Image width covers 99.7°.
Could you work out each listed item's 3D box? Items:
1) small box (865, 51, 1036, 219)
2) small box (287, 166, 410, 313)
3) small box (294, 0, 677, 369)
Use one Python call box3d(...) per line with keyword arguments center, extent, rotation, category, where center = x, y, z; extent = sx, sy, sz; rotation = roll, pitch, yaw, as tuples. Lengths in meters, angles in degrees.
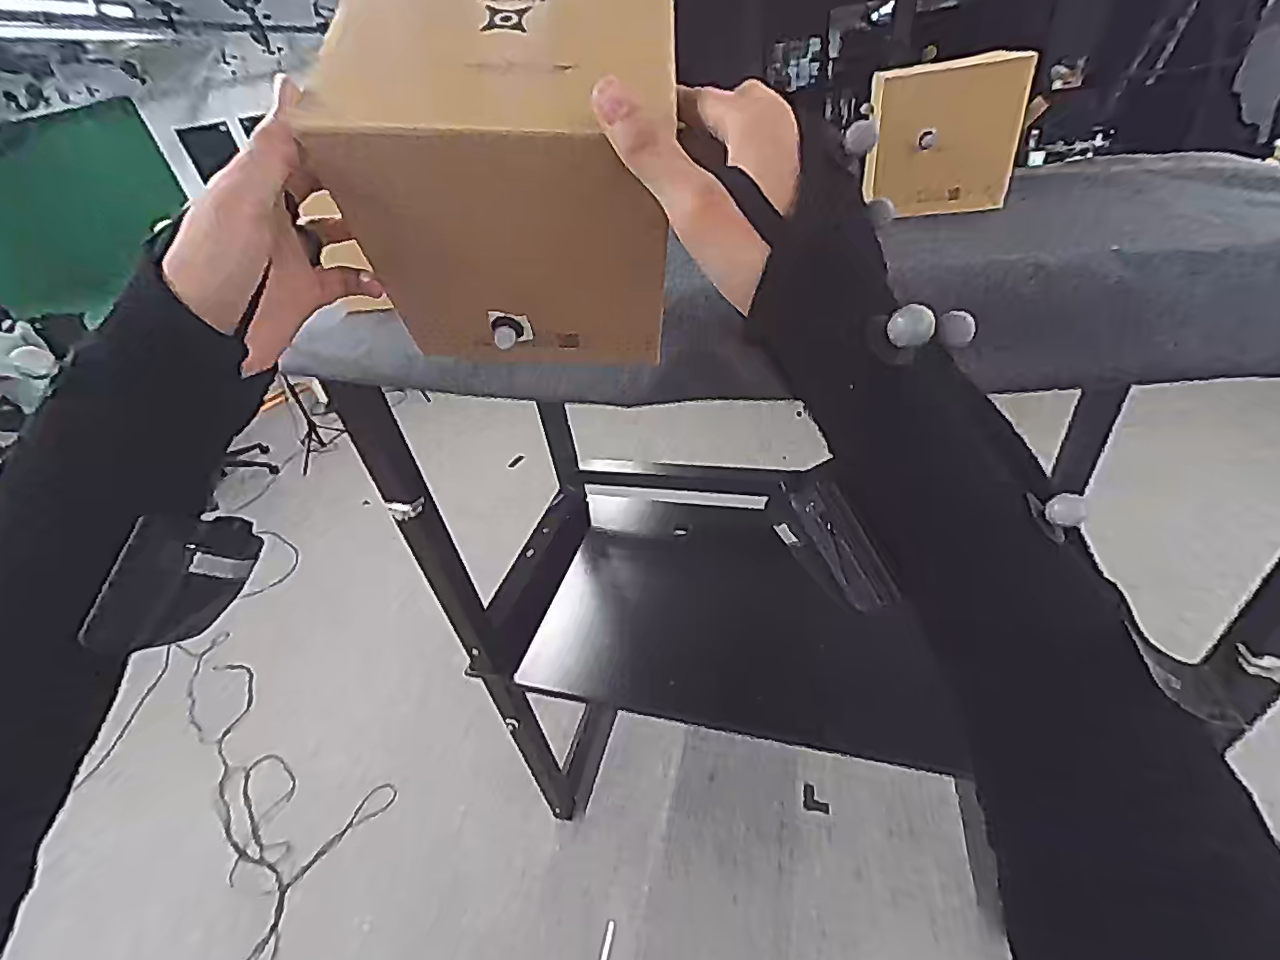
box3d(center=(0.409, -0.469, 0.747), extent=(0.168, 0.176, 0.179), rotation=(3, 38, 17), category="small box")
box3d(center=(-0.303, -0.329, 0.715), extent=(0.179, 0.176, 0.168), rotation=(2, 36, 14), category="small box")
box3d(center=(-0.066, -0.192, 0.337), extent=(0.168, 0.176, 0.179), rotation=(0, 65, 0), category="small box")
